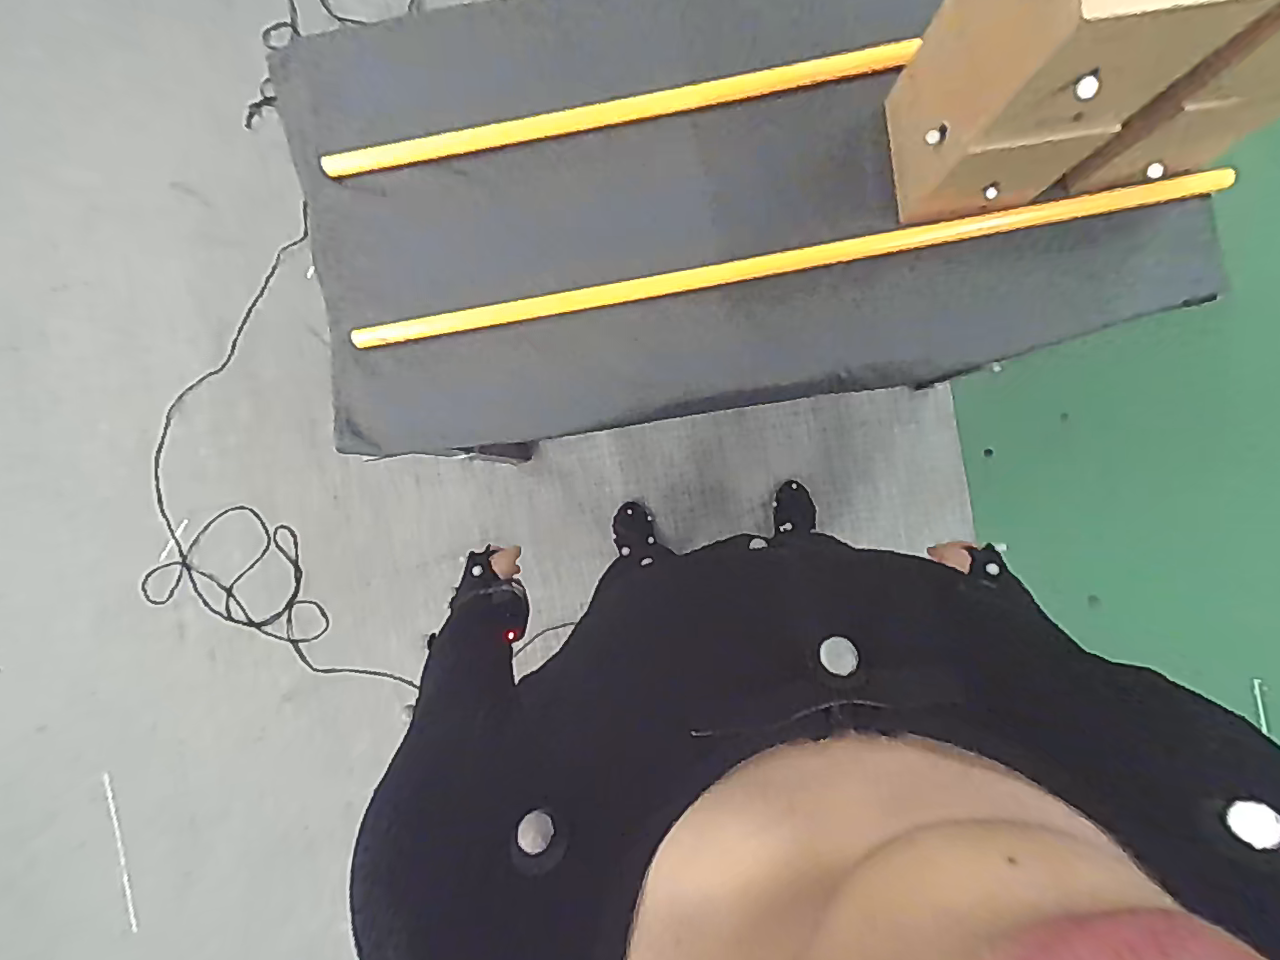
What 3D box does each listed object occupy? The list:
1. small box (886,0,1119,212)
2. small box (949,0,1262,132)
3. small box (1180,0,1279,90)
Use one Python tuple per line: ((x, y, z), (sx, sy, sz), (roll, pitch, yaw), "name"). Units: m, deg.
((0.422, -0.450, 0.658), (0.168, 0.176, 0.179), (-7, 90, 2), "small box")
((0.414, -0.454, 0.496), (0.168, 0.176, 0.179), (-7, 89, 3), "small box")
((0.640, -0.490, 0.484), (0.179, 0.176, 0.168), (-5, 91, 2), "small box")
